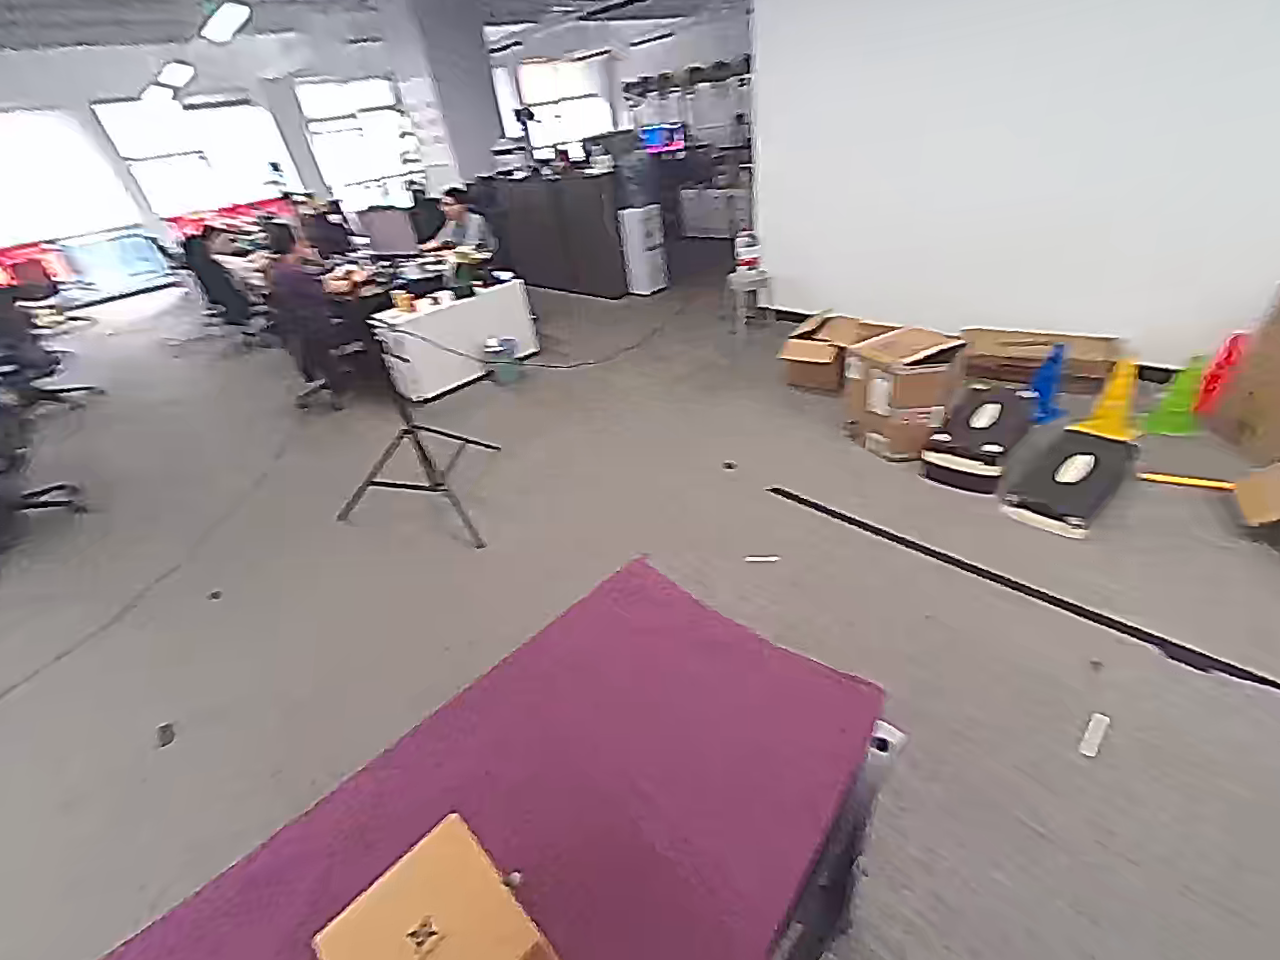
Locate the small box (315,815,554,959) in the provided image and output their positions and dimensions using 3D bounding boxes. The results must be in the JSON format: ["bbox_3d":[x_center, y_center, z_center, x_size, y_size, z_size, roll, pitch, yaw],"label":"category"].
[{"bbox_3d":[-0.206,0.523,0.582,0.179,0.176,0.168,24,46,39],"label":"small box"}]
